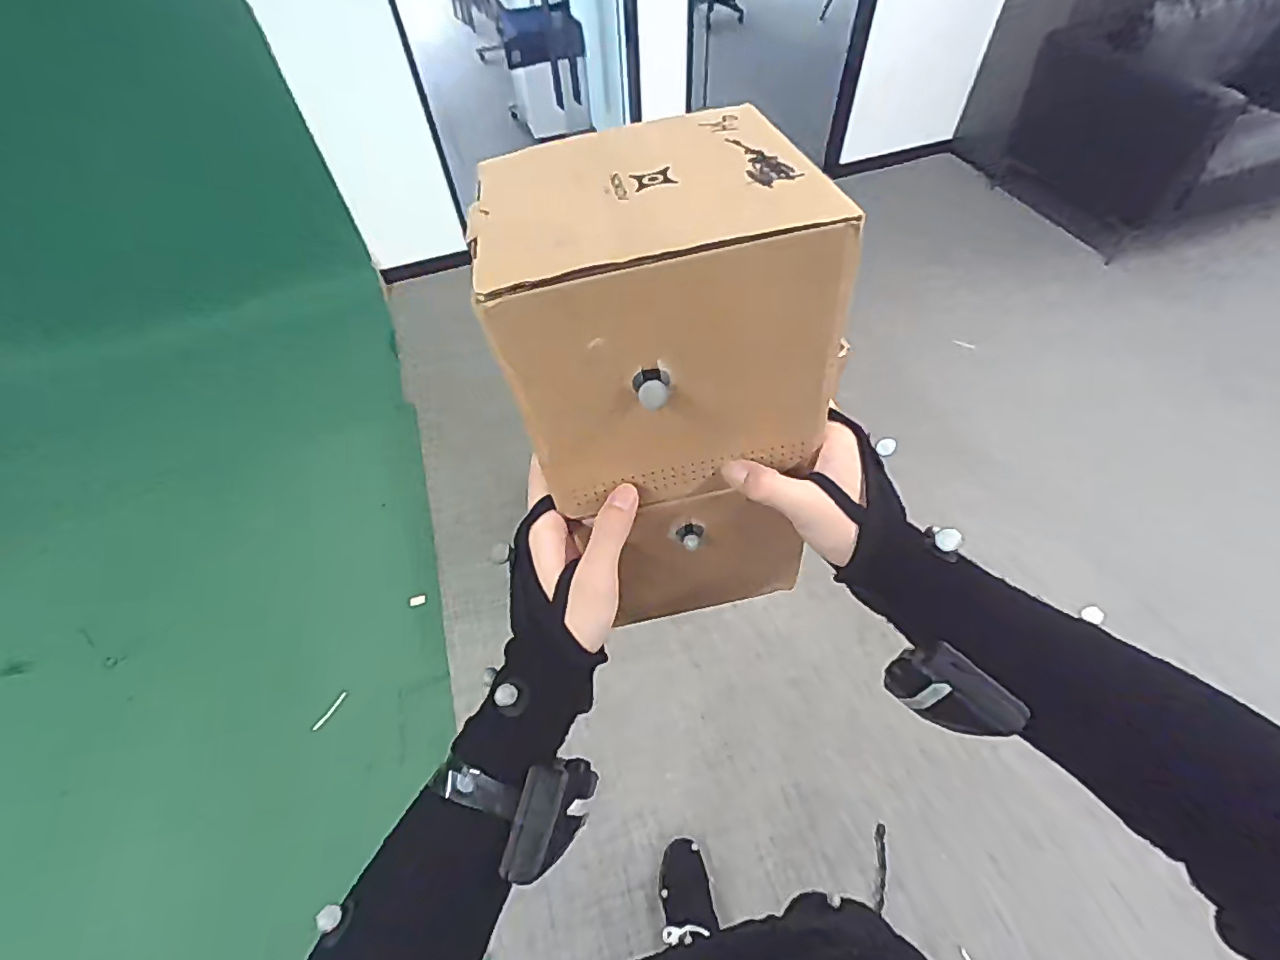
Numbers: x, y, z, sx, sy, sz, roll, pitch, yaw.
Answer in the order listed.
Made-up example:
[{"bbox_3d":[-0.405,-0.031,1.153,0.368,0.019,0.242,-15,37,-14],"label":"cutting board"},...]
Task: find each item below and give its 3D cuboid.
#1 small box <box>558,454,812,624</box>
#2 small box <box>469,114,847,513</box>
[{"bbox_3d":[0.032,0.007,0.471,0.179,0.176,0.168,-12,49,0],"label":"small box"},{"bbox_3d":[0.009,-0.099,0.348,0.179,0.176,0.168,-13,50,0],"label":"small box"}]
